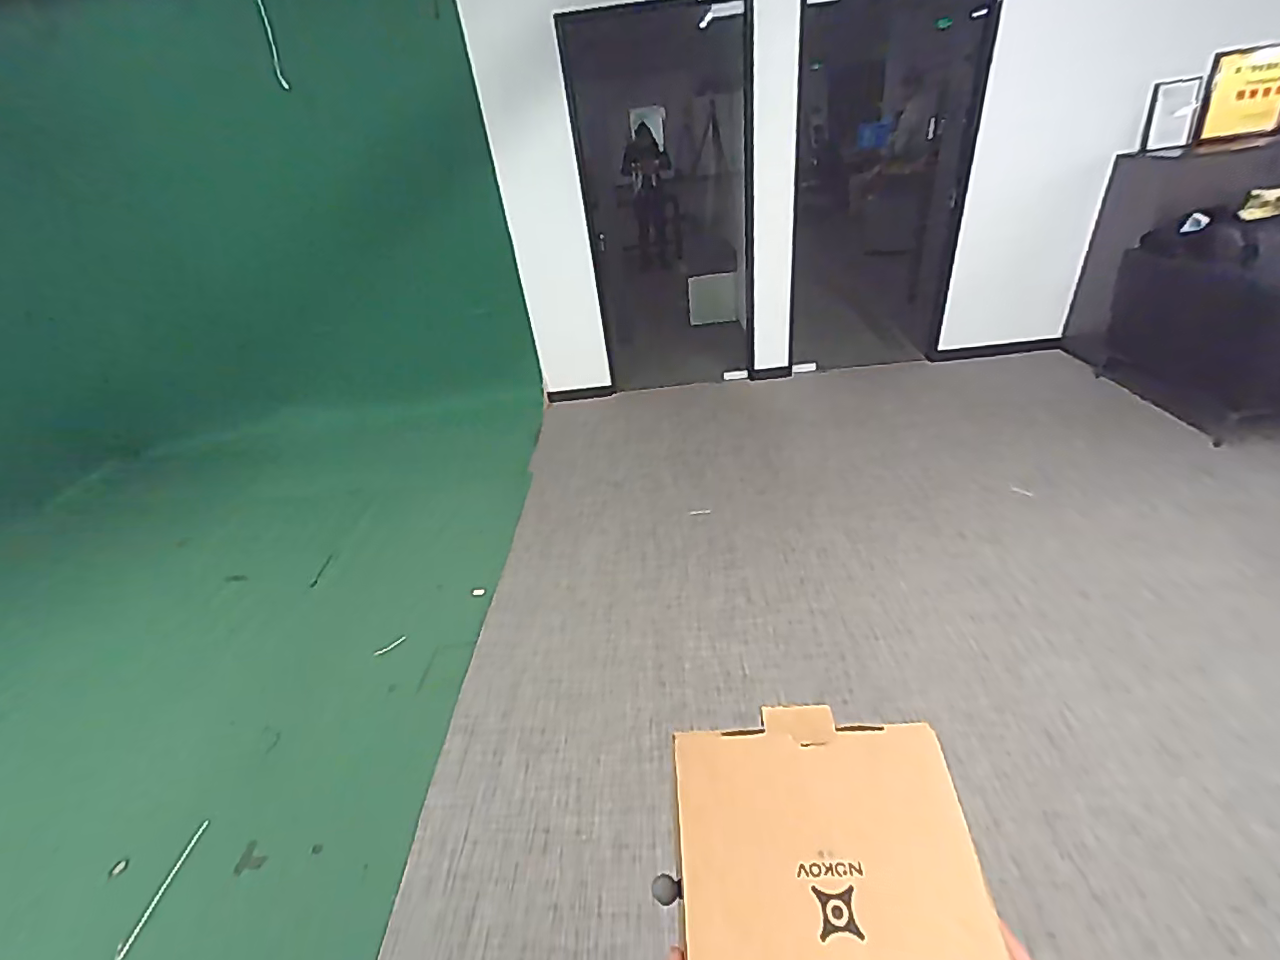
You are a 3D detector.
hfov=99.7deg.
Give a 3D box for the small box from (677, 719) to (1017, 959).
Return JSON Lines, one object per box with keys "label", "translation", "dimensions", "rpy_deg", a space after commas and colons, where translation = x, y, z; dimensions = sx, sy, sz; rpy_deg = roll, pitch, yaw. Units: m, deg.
{"label": "small box", "translation": [0.112, 0.273, 0.353], "dimensions": [0.168, 0.176, 0.179], "rpy_deg": [-3, 50, 1]}
